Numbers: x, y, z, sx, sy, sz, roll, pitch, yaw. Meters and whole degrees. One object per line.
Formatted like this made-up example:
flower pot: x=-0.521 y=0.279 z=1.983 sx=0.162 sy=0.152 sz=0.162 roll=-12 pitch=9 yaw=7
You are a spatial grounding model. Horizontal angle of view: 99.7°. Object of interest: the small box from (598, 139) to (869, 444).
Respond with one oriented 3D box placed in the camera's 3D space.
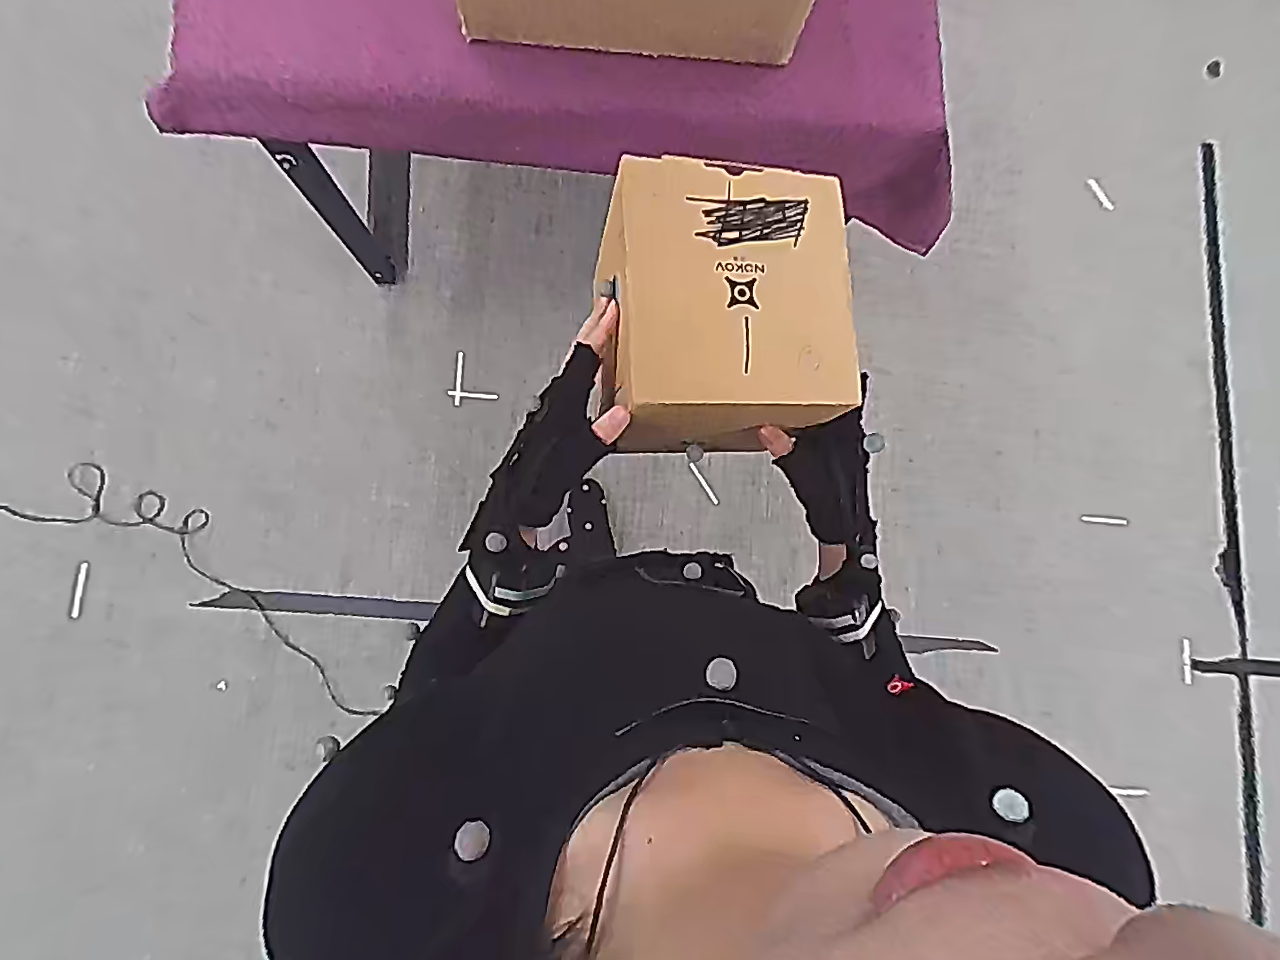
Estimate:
small box: x=0.057 y=-0.133 z=0.444 sx=0.168 sy=0.176 sz=0.179 roll=-2 pitch=81 yaw=-11
